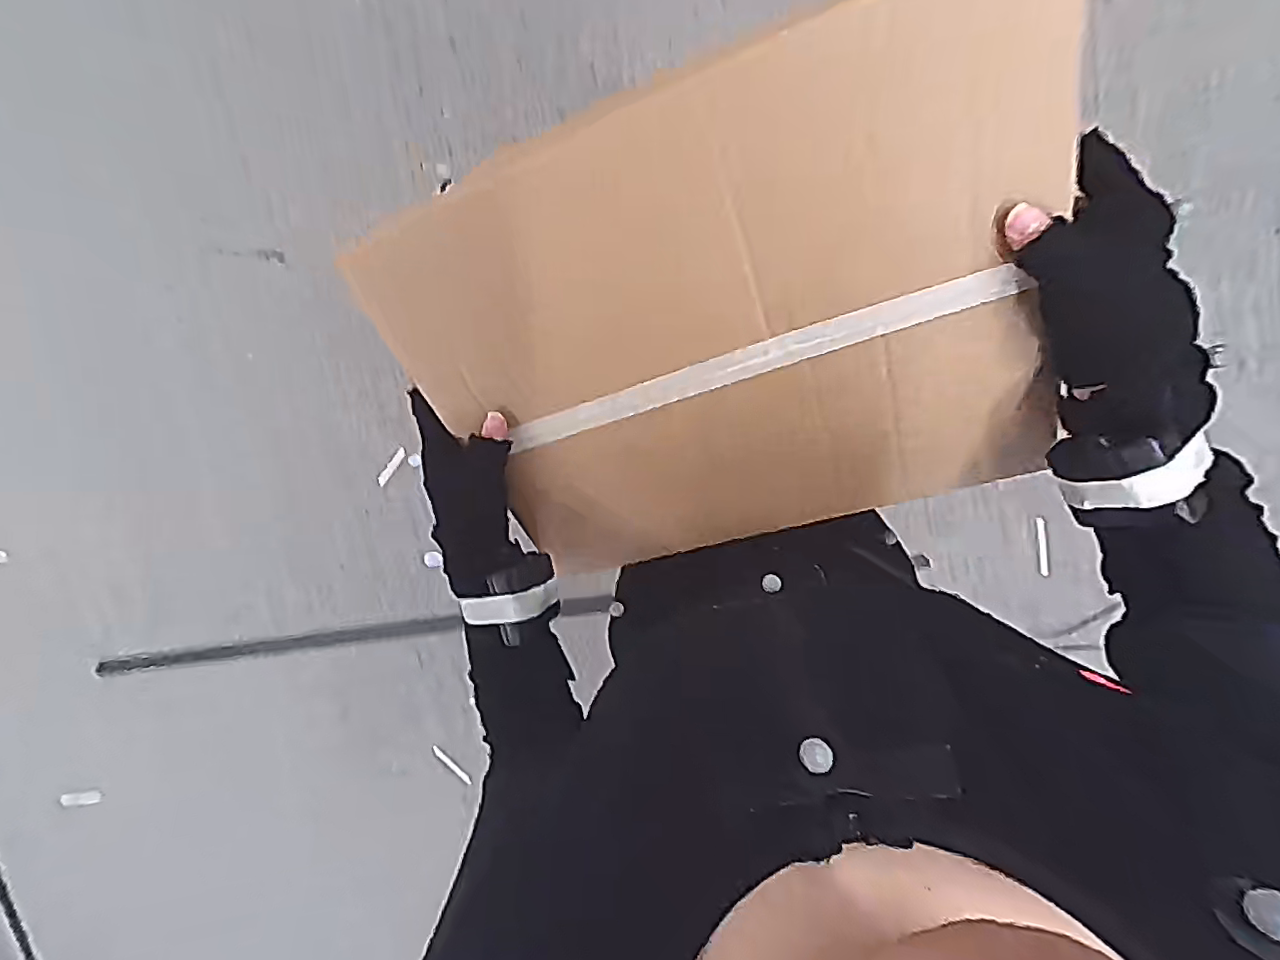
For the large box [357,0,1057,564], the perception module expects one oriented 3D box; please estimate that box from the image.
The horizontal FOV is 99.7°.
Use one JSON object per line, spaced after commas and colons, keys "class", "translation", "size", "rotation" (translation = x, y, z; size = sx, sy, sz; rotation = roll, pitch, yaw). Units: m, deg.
{"class": "large box", "translation": [0.063, -0.174, 0.487], "size": [0.408, 0.320, 0.320], "rotation": [-15, 127, 17]}
